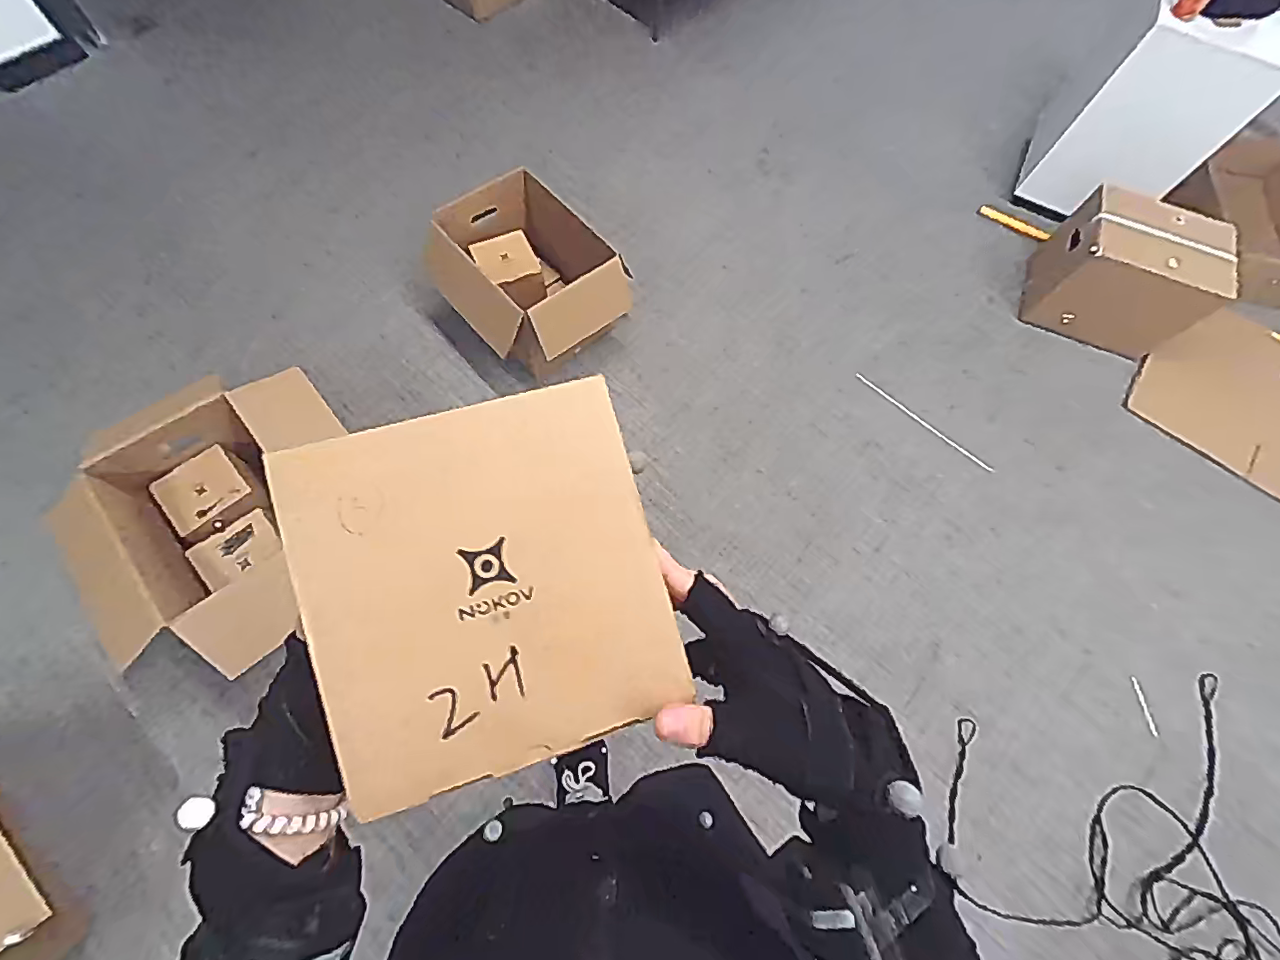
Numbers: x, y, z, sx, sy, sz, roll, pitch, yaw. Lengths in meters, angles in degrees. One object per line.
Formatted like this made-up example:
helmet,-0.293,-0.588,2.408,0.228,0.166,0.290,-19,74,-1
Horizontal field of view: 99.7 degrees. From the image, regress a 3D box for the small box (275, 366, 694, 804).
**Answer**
small box,-0.084,0.052,0.338,0.168,0.176,0.179,-15,86,-10
